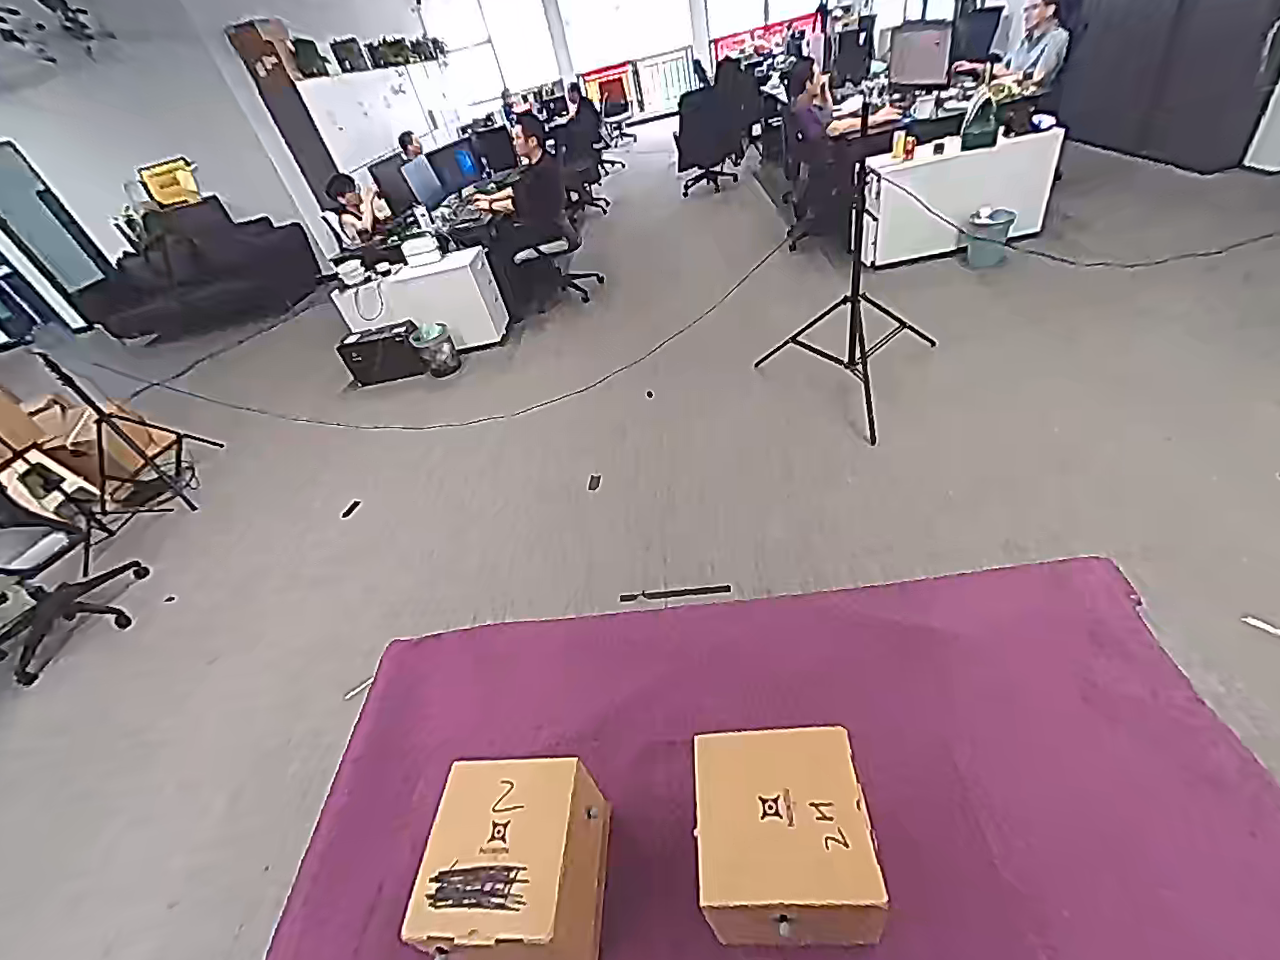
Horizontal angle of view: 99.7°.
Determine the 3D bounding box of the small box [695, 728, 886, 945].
[{"bbox_3d":[0.162,0.403,0.612,0.179,0.176,0.168,-7,39,10],"label":"small box"}]
